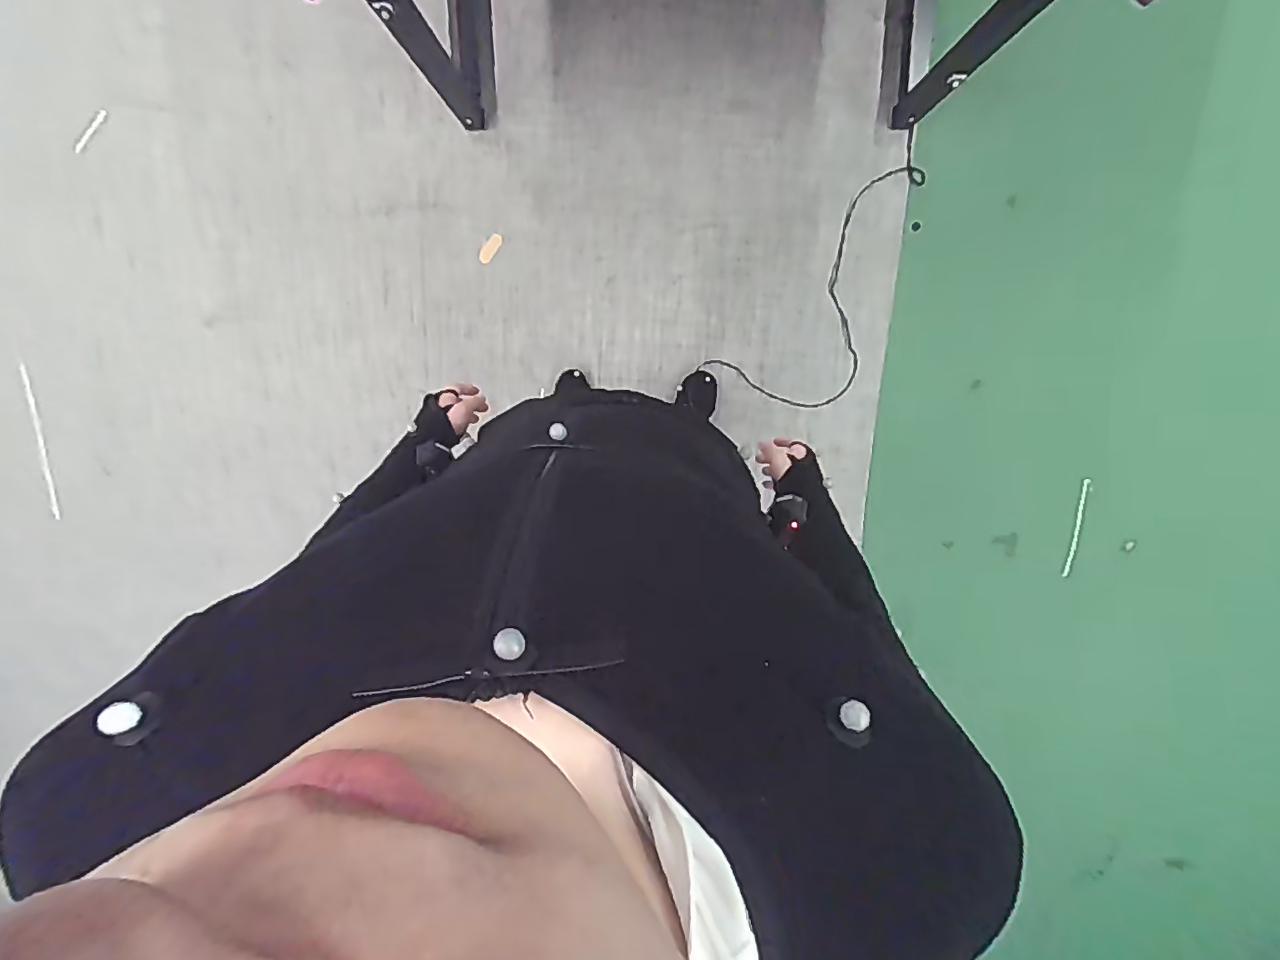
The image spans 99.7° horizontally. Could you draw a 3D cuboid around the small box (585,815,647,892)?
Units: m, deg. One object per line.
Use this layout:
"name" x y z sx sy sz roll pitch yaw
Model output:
"small box" -0.078 1.267 1.817 0.179 0.176 0.168 10 102 -2
